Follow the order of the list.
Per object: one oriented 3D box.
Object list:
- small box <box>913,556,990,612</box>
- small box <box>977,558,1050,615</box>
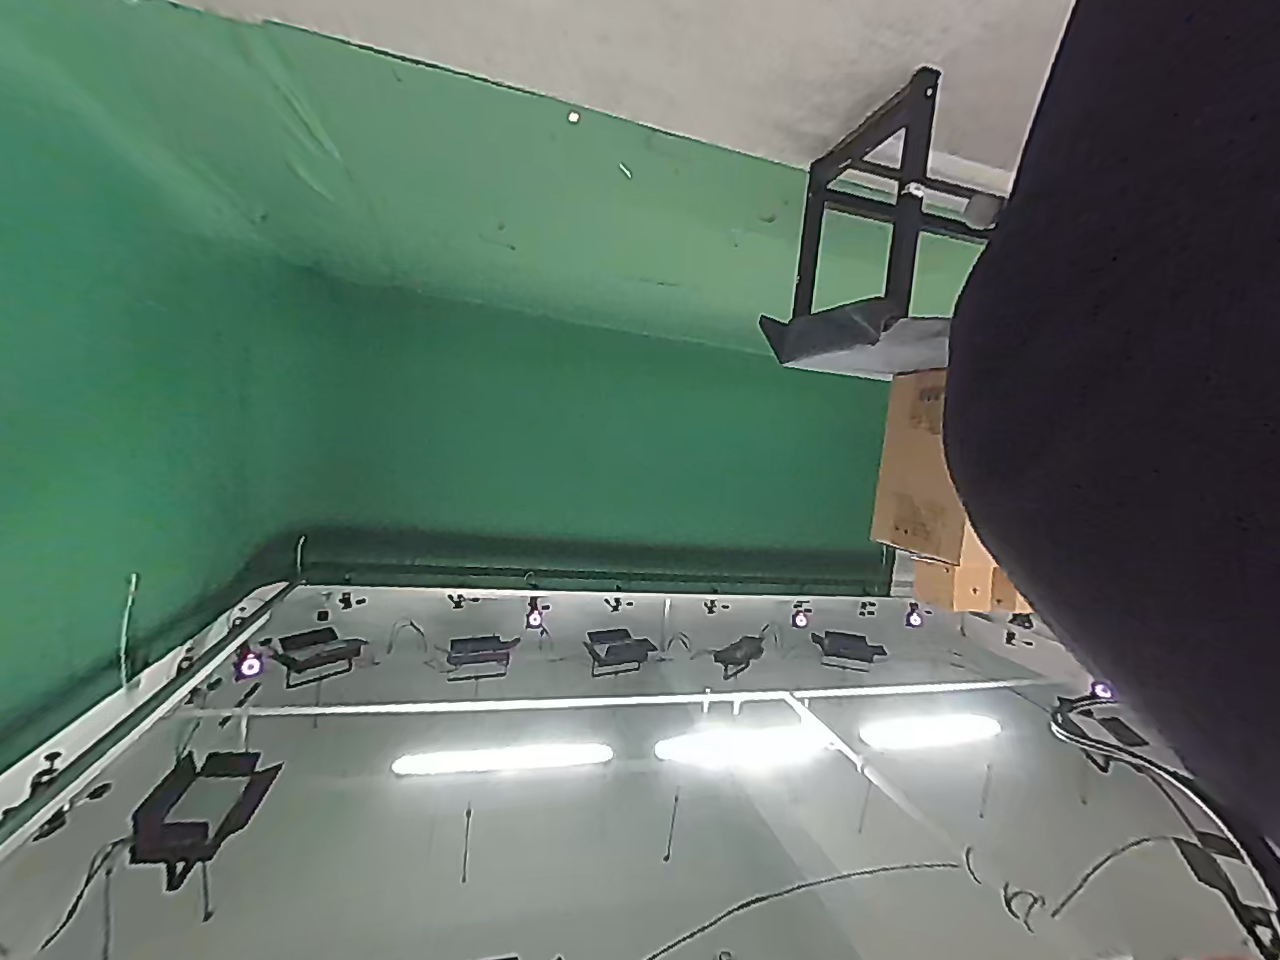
[{"bbox_3d":[1.095,0.362,1.901,0.179,0.176,0.168,4,180,-19],"label":"small box"},{"bbox_3d":[1.346,0.381,1.958,0.179,0.176,0.168,4,180,-18],"label":"small box"}]
